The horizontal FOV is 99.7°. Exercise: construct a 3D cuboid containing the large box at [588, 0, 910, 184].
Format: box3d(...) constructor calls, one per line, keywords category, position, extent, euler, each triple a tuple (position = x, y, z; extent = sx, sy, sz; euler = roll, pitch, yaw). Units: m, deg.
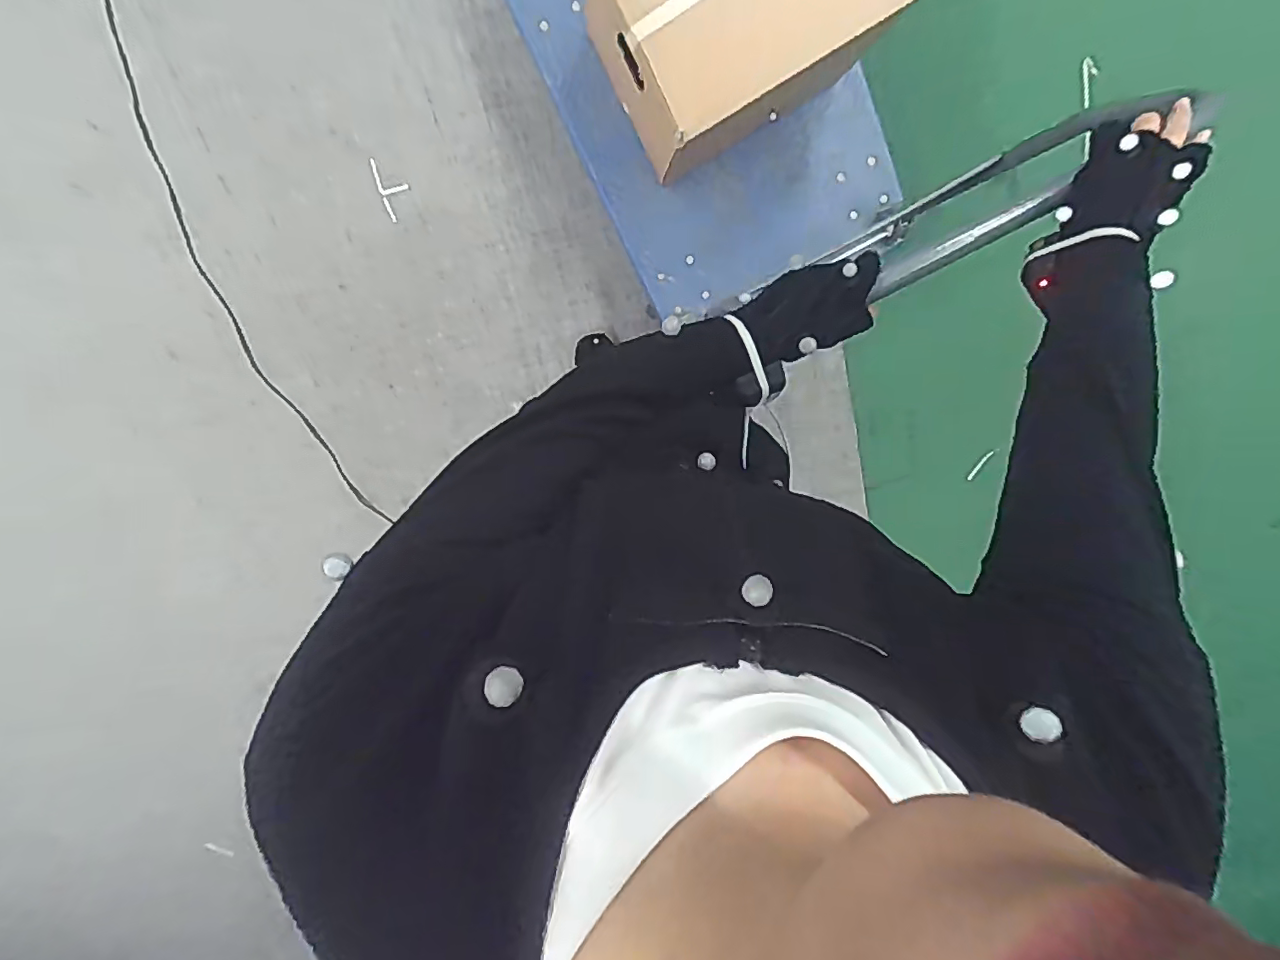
box3d(category="large box", position=(0.156, -0.789, 0.926), extent=(0.408, 0.320, 0.320), euler=(-30, 106, 7))
